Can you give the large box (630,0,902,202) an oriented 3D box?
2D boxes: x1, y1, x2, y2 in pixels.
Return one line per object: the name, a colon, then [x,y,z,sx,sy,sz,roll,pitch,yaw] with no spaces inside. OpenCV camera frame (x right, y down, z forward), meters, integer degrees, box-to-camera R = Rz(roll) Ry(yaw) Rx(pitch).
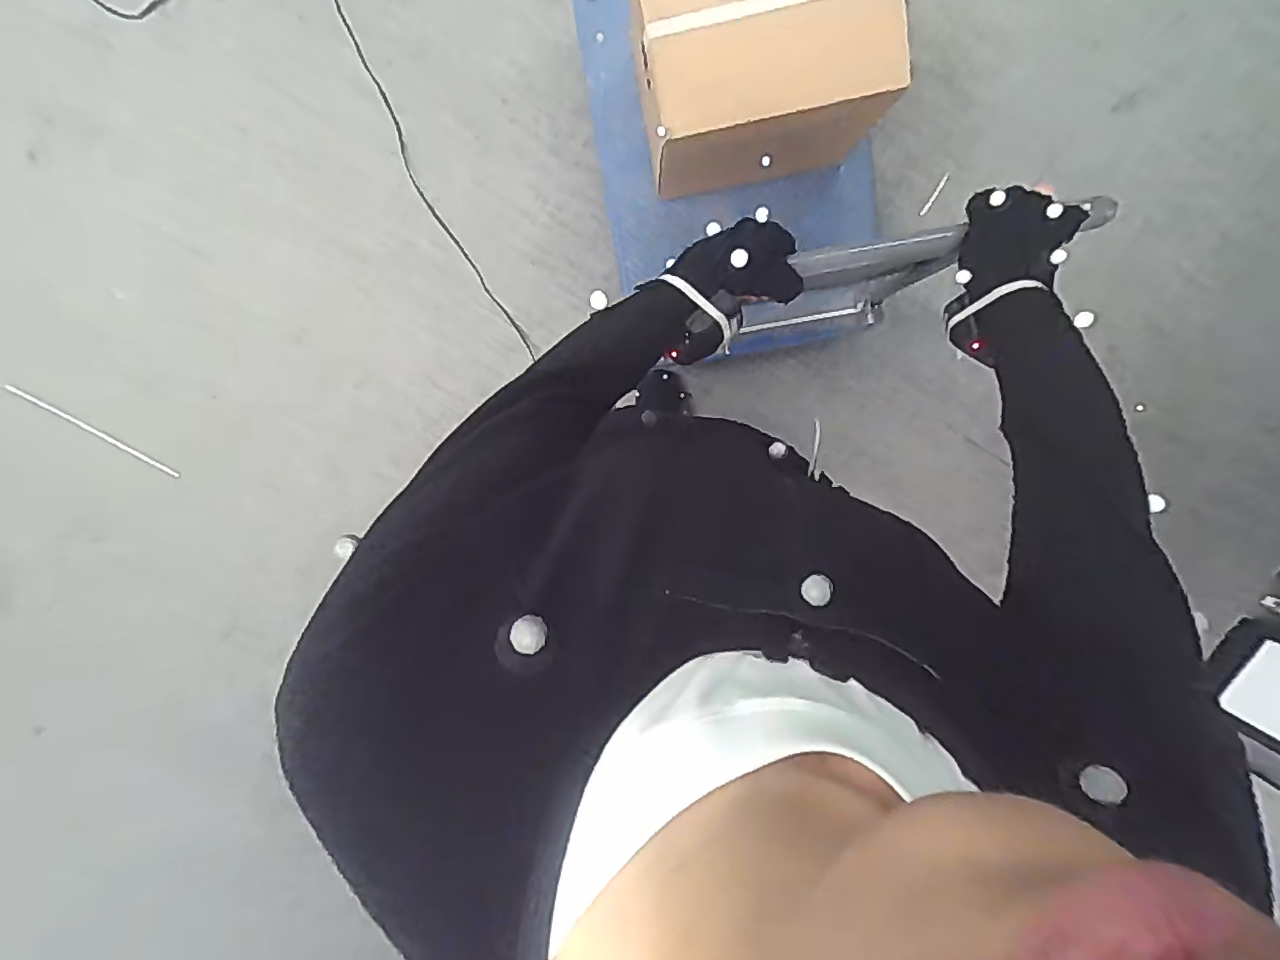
large box: [0.209,-0.768,1.013,0.408,0.320,0.320,-11,100,3]
